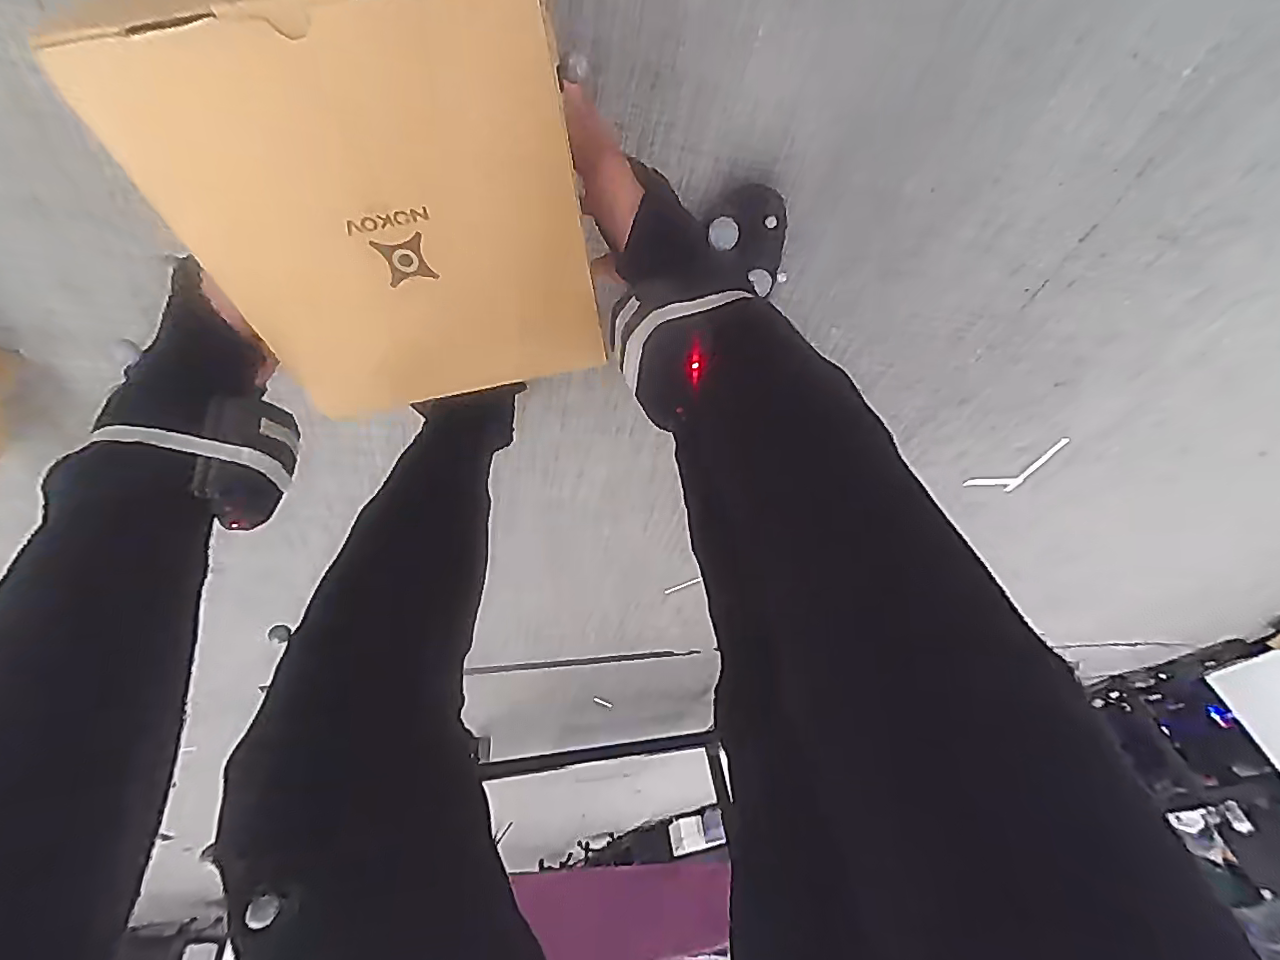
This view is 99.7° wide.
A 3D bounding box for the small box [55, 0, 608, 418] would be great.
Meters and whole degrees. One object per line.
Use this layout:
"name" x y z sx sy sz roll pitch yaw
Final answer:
"small box" -0.117 -0.164 0.293 0.168 0.176 0.179 -12 141 -2
